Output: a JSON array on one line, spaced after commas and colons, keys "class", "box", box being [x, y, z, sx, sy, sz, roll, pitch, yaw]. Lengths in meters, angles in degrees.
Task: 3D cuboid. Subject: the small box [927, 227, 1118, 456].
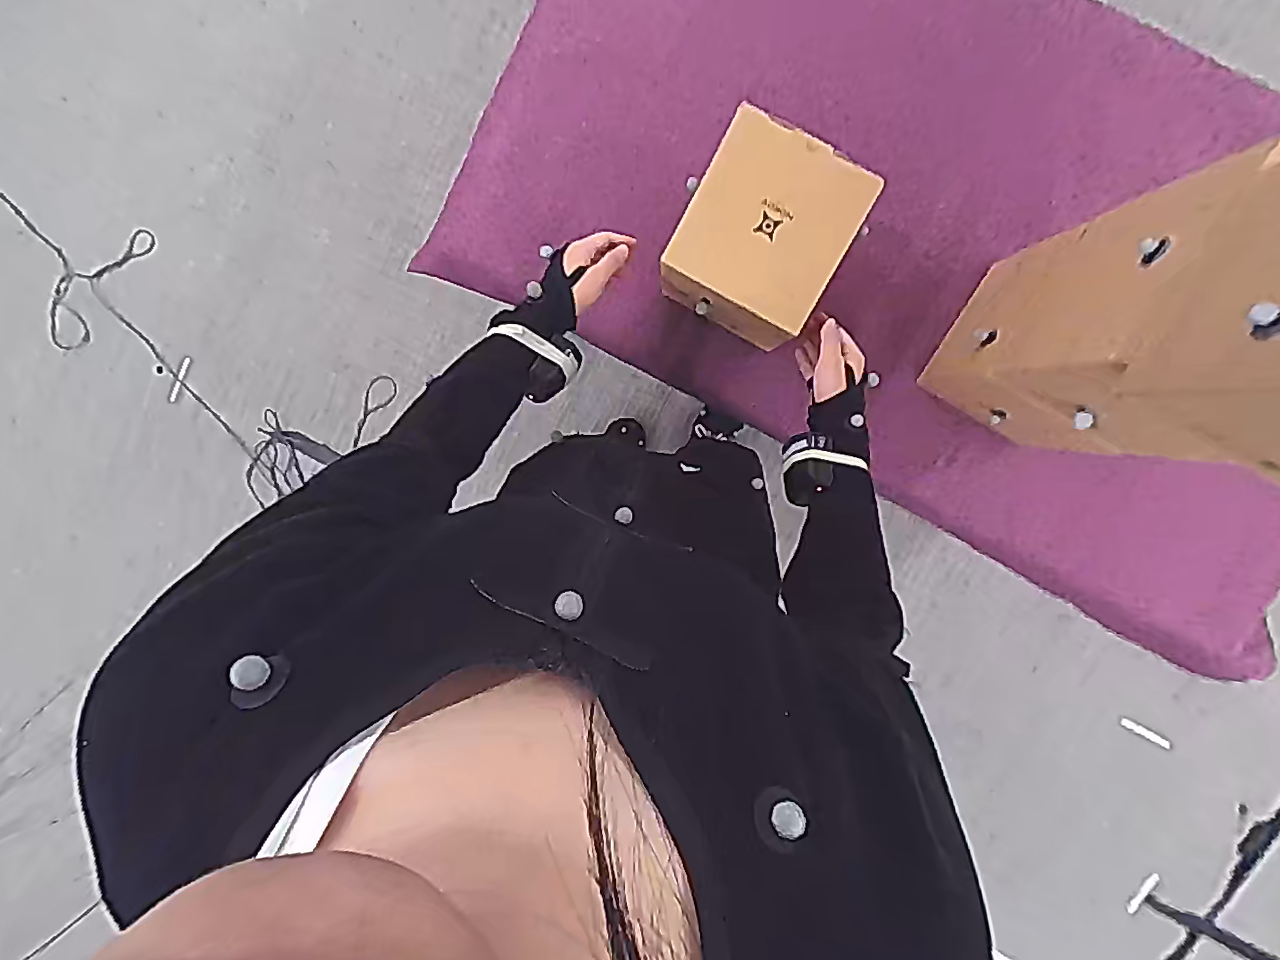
[{"class": "small box", "box": [0.470, -0.147, 0.626, 0.168, 0.176, 0.179, 31, 97, -1]}]

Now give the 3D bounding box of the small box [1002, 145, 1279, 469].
[{"class": "small box", "box": [0.465, -0.128, 0.463, 0.168, 0.176, 0.179, 31, 98, -1]}]

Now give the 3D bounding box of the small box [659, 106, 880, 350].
[{"class": "small box", "box": [0.137, -0.270, 0.631, 0.168, 0.176, 0.179, 29, 97, -1]}]
